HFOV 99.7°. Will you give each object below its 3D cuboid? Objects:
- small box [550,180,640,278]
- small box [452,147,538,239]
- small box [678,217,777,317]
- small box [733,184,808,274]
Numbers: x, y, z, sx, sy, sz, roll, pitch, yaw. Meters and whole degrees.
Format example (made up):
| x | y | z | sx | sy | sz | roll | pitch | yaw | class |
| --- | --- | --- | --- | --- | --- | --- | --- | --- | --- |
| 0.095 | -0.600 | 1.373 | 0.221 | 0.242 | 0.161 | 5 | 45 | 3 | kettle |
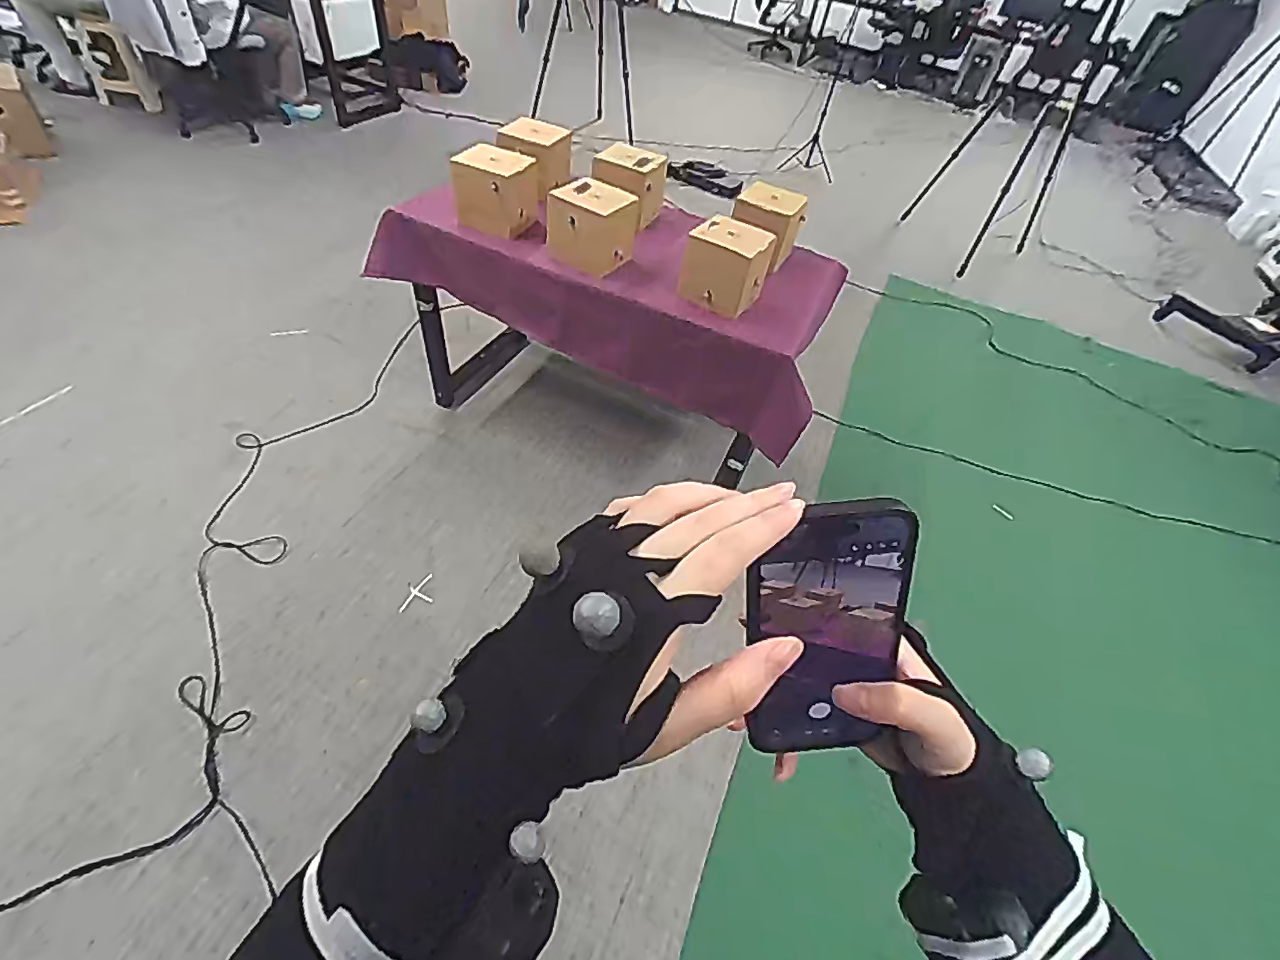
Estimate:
| x | y | z | sx | sy | sz | roll | pitch | yaw | class |
| --- | --- | --- | --- | --- | --- | --- | --- | --- | --- |
| -0.125 | -0.669 | 1.445 | 0.179 | 0.176 | 0.168 | 29 | 50 | 14 | small box |
| -0.400 | -0.801 | 1.516 | 0.179 | 0.176 | 0.168 | 20 | 48 | 6 | small box |
| 0.221 | -0.545 | 1.396 | 0.179 | 0.176 | 0.168 | 29 | 50 | 15 | small box |
| 0.368 | -0.739 | 1.593 | 0.168 | 0.176 | 0.179 | 26 | 50 | 14 | small box |
